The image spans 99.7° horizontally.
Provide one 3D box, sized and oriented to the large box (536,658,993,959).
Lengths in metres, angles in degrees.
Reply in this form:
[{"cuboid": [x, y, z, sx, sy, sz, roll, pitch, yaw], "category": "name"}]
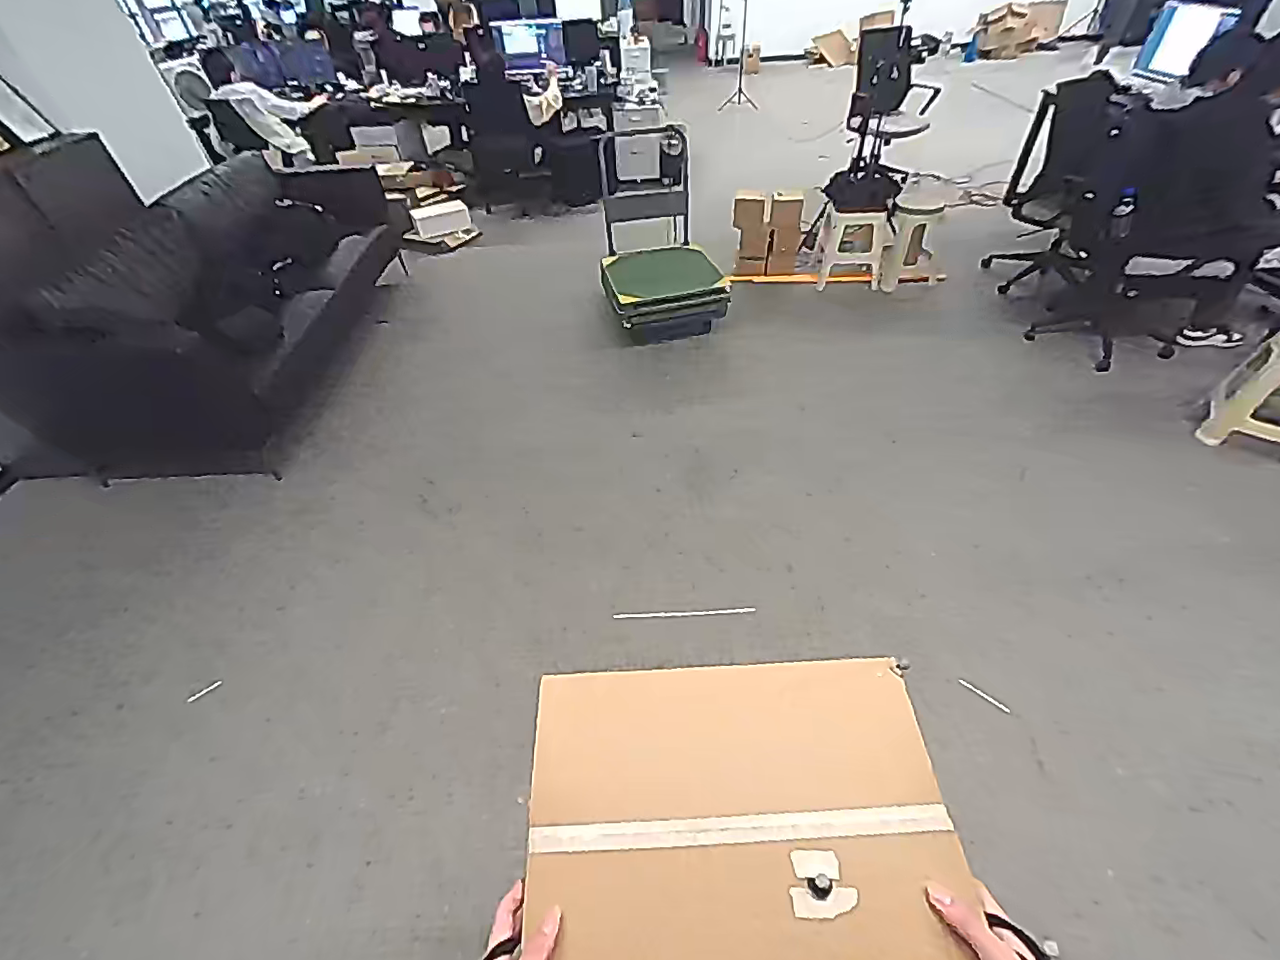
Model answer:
[{"cuboid": [0.103, 0.434, 0.646, 0.408, 0.320, 0.320, -4, 52, 0], "category": "large box"}]
